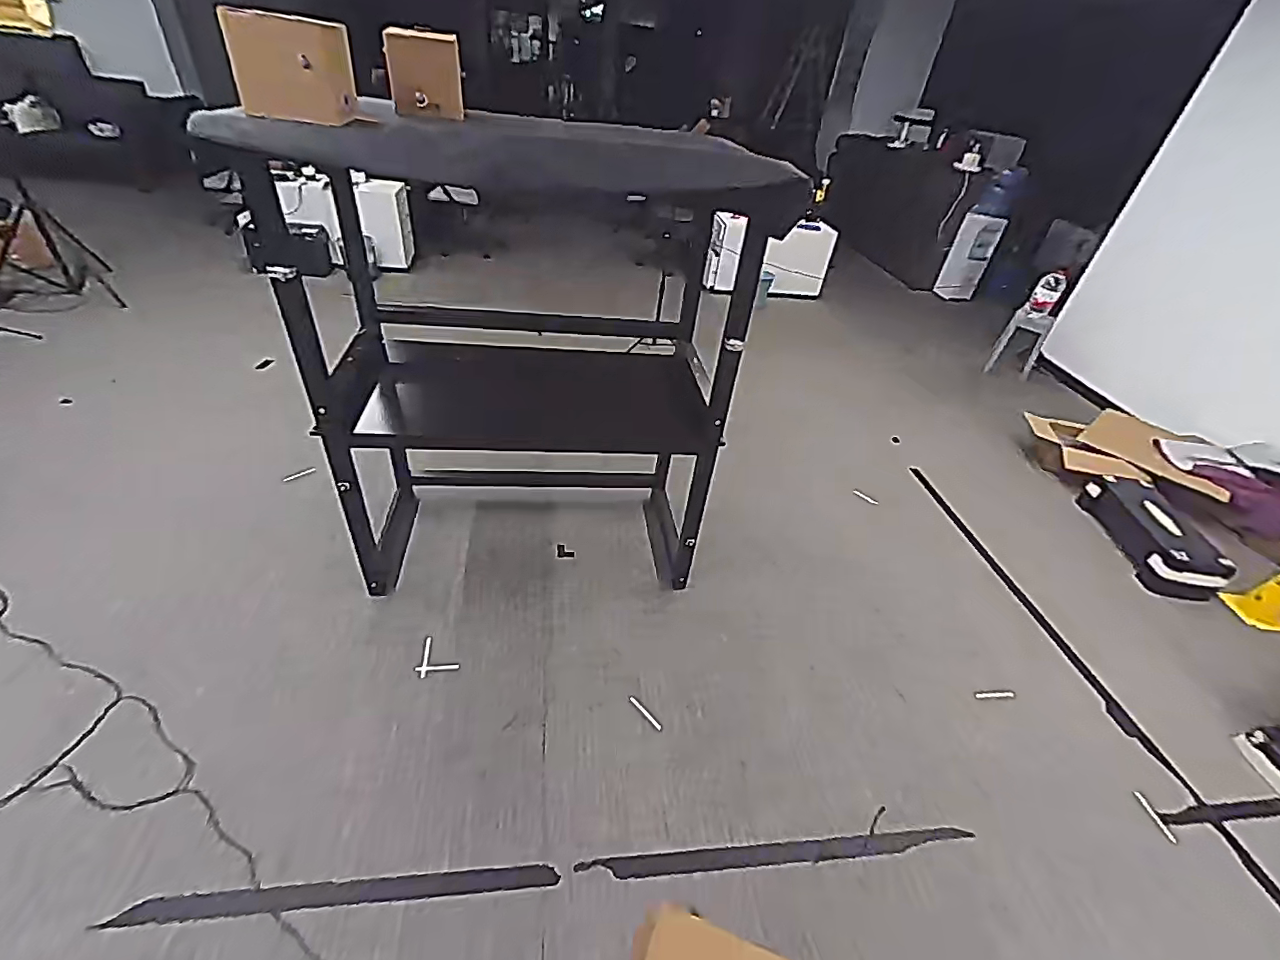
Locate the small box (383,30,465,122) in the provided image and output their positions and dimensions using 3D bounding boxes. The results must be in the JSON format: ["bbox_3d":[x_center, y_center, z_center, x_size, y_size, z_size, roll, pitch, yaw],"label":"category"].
[{"bbox_3d":[-0.547,-1.036,1.389,0.168,0.176,0.179,-5,40,-14],"label":"small box"}]

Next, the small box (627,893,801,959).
[{"bbox_3d":[0.061,0.587,0.582,0.179,0.176,0.168,19,47,8],"label":"small box"}]
